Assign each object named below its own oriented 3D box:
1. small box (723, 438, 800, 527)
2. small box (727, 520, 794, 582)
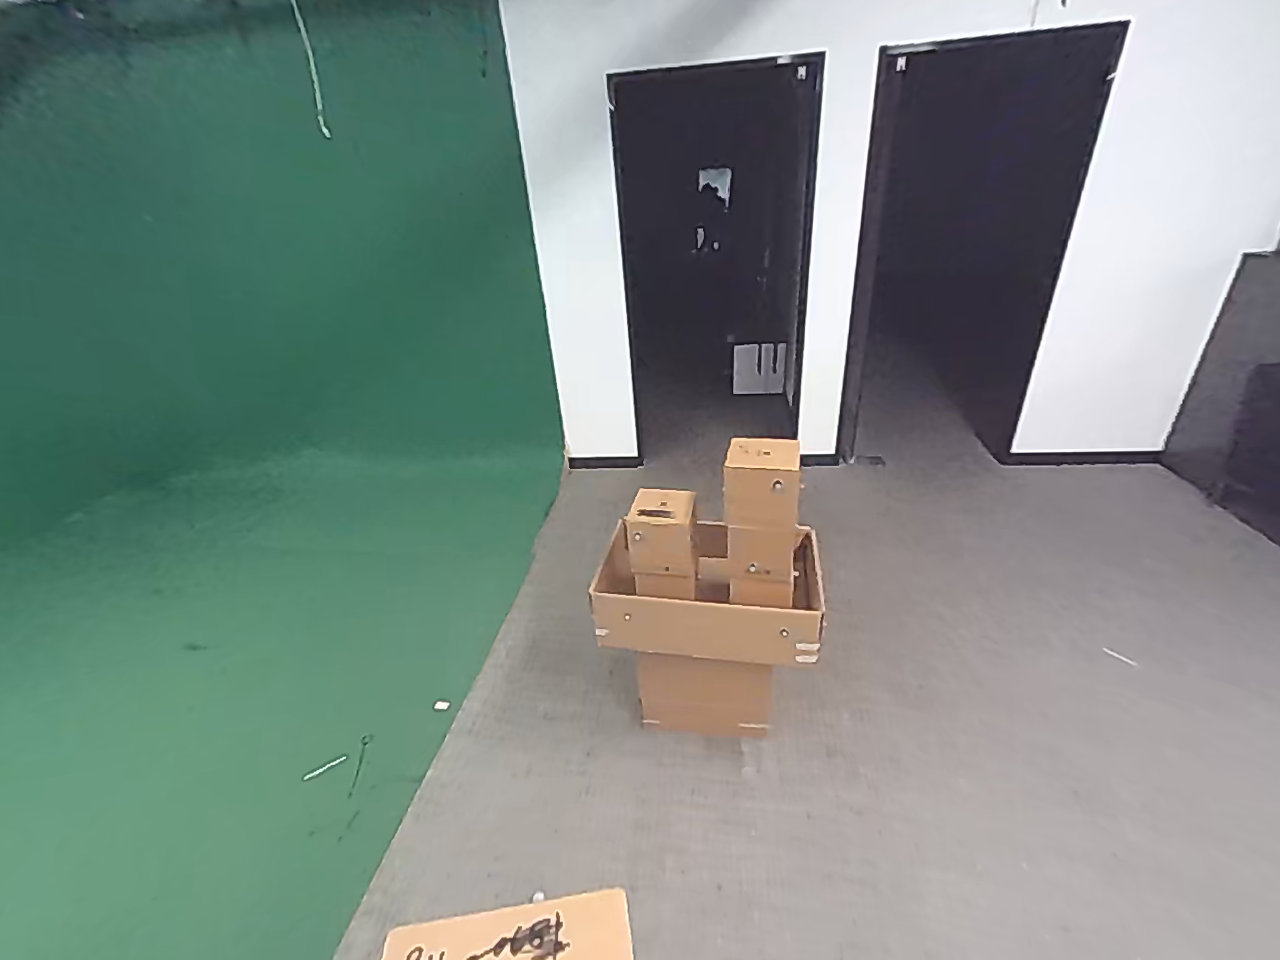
[{"bbox_3d":[0.309,0.006,1.368,0.179,0.176,0.168,2,29,17],"label":"small box"},{"bbox_3d":[0.325,0.148,1.450,0.168,0.176,0.179,2,30,15],"label":"small box"}]
